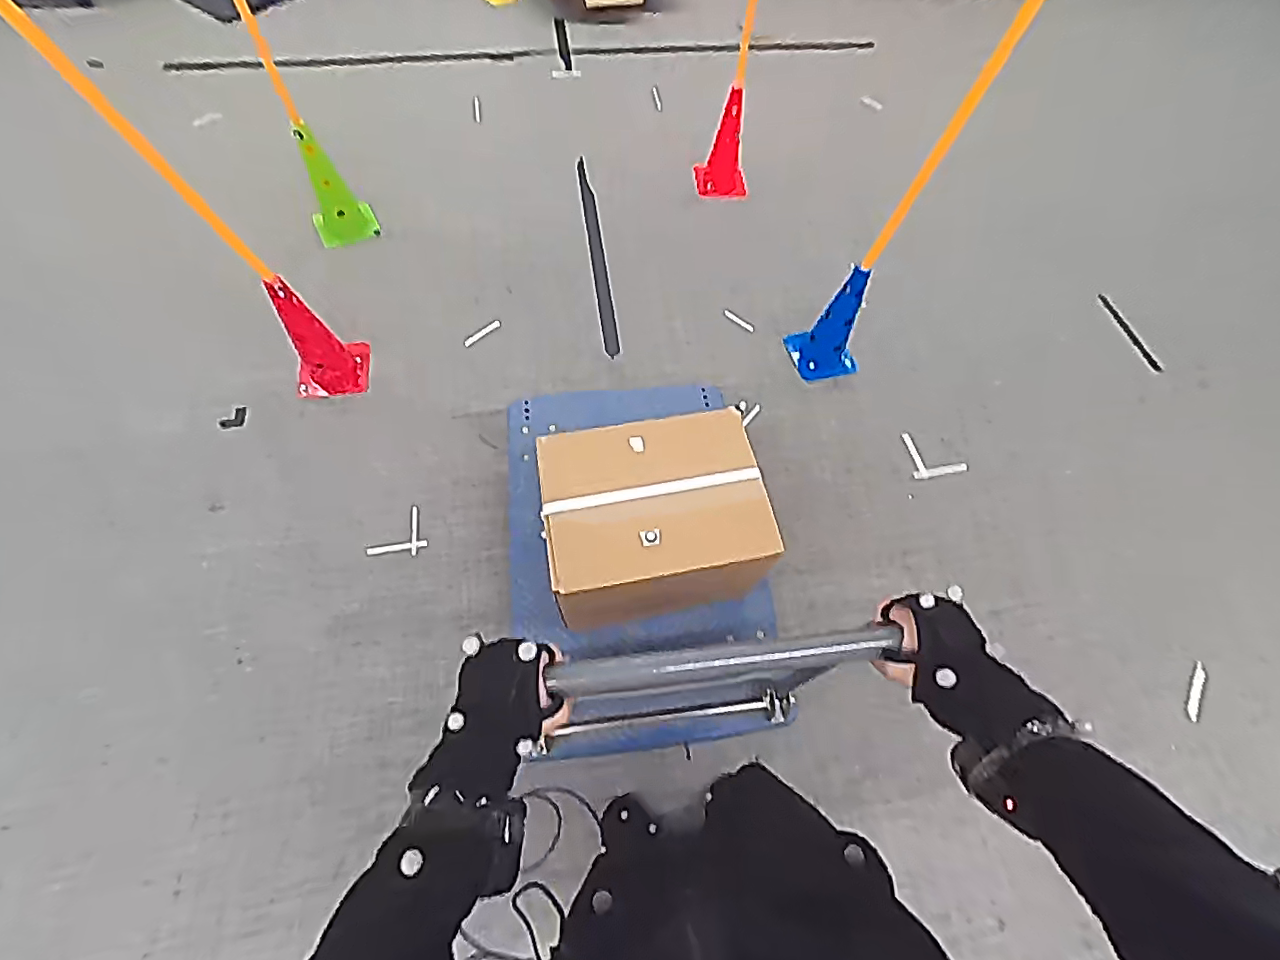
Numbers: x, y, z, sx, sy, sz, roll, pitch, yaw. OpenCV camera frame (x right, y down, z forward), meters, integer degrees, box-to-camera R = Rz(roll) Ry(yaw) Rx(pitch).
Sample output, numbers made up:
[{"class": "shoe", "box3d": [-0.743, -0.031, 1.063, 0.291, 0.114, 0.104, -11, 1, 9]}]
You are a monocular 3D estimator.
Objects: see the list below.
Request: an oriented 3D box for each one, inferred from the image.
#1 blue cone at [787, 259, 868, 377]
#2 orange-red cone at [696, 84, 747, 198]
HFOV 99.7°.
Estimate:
[{"class": "blue cone", "box3d": [0.608, -0.501, 1.651, 0.193, 0.380, 0.192, -10, 62, -9]}, {"class": "orange-red cone", "box3d": [0.340, -1.285, 2.031, 0.199, 0.360, 0.198, 0, 63, -5]}]
